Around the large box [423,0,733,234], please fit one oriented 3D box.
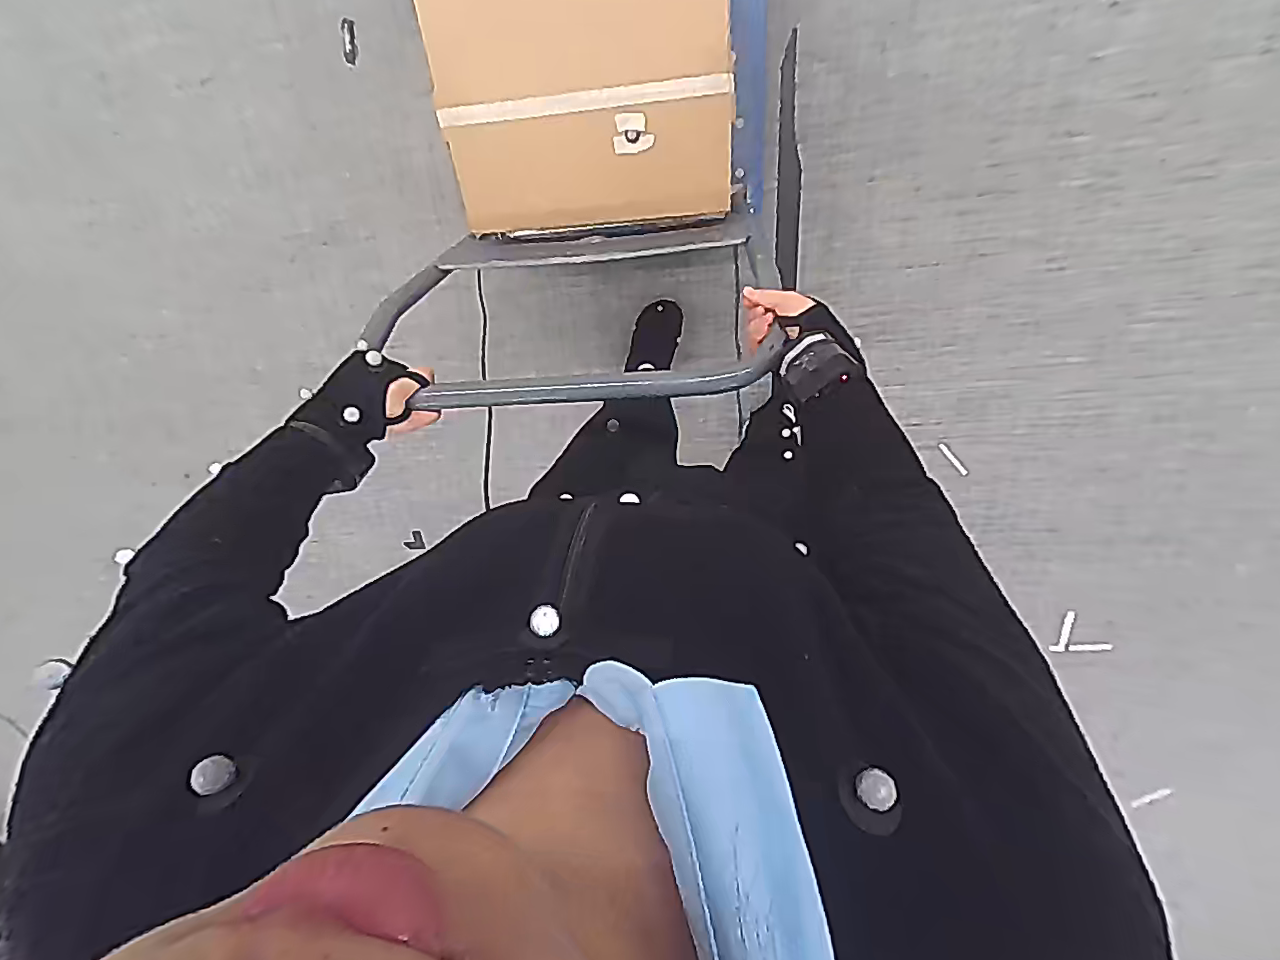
[{"bbox_3d":[-0.064,-0.607,0.874,0.408,0.320,0.320,-2,124,6],"label":"large box"}]
